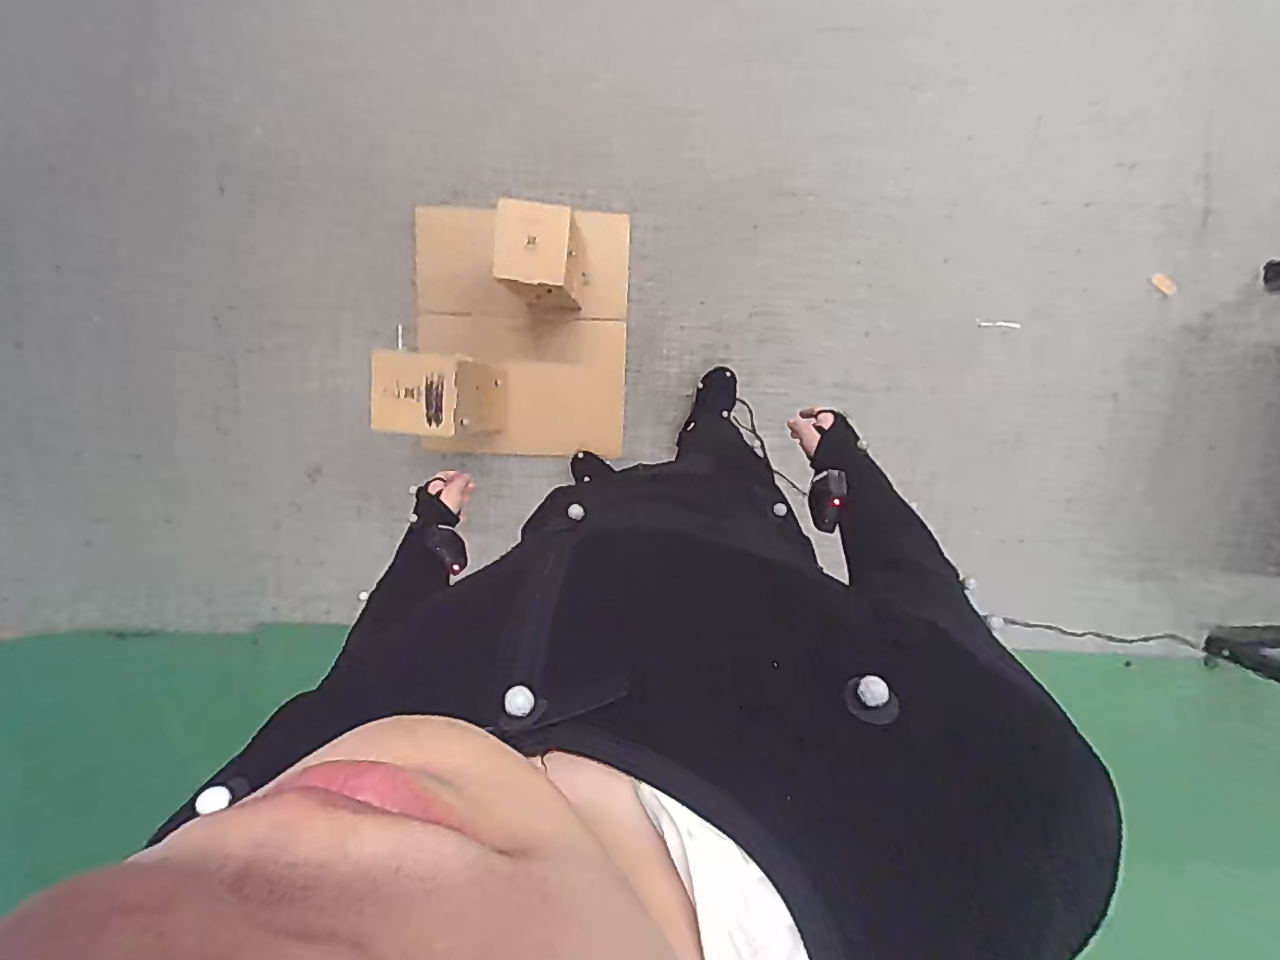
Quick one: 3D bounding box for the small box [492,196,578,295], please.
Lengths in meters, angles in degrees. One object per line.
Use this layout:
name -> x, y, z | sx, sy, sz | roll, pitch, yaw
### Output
small box -> -0.246, -0.552, 1.298 | 0.168, 0.176, 0.179 | 7, 99, -1

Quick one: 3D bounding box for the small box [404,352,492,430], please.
small box -> -0.474, -0.220, 1.349 | 0.168, 0.176, 0.179 | 3, 99, -1

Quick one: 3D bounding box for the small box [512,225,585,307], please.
small box -> -0.242, -0.578, 1.459 | 0.168, 0.176, 0.179 | 5, 99, 0

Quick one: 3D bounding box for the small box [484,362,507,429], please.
small box -> -0.474, -0.238, 1.510 | 0.168, 0.176, 0.179 | 3, 99, 0
